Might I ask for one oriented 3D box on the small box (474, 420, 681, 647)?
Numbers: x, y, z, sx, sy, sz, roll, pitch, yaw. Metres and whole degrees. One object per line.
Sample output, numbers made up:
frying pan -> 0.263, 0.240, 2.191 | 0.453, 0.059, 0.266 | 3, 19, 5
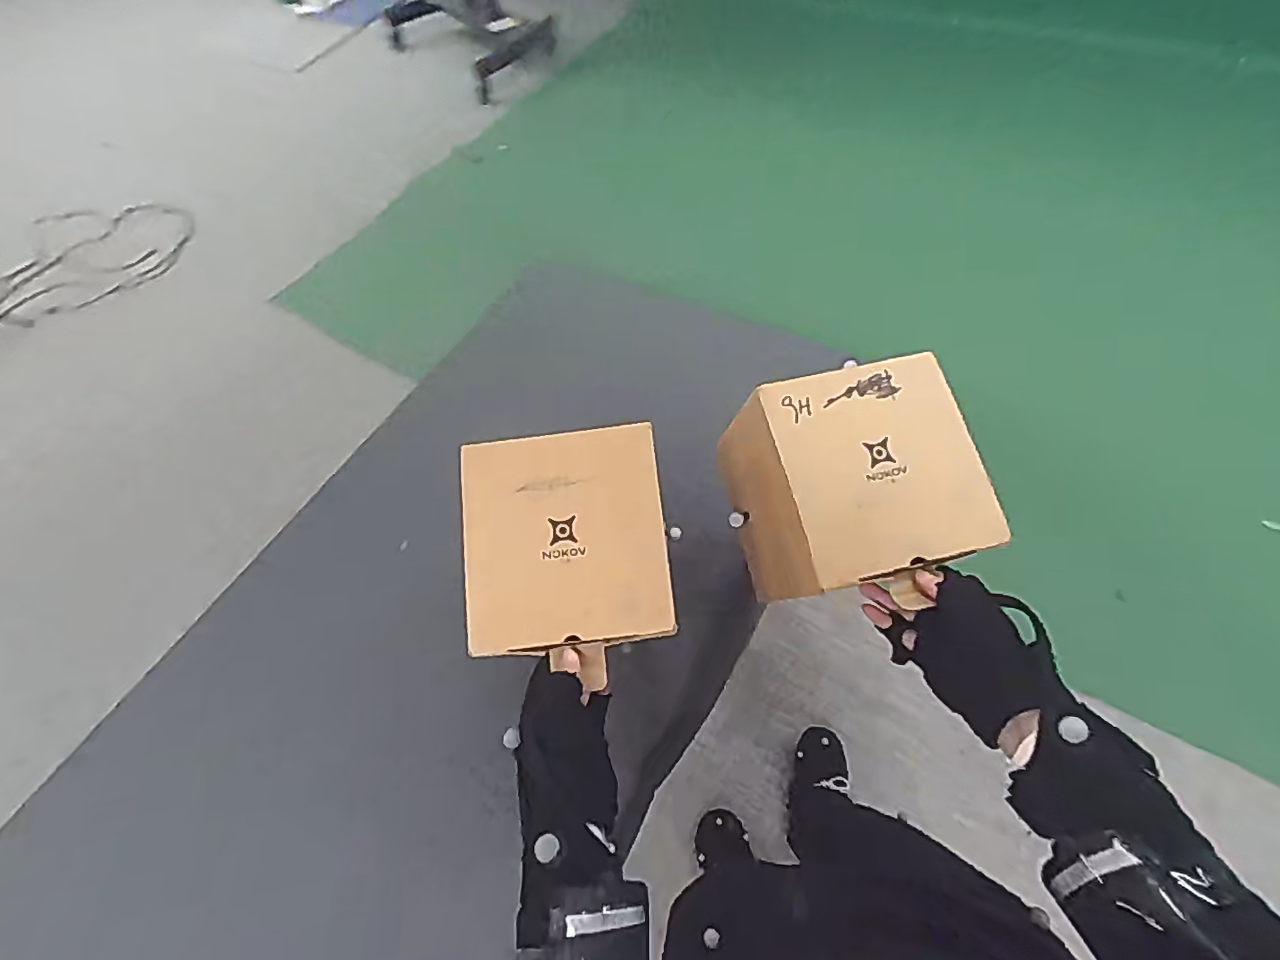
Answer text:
small box -> -0.050, 0.058, 0.524 | 0.168, 0.176, 0.179 | -7, 76, 1
